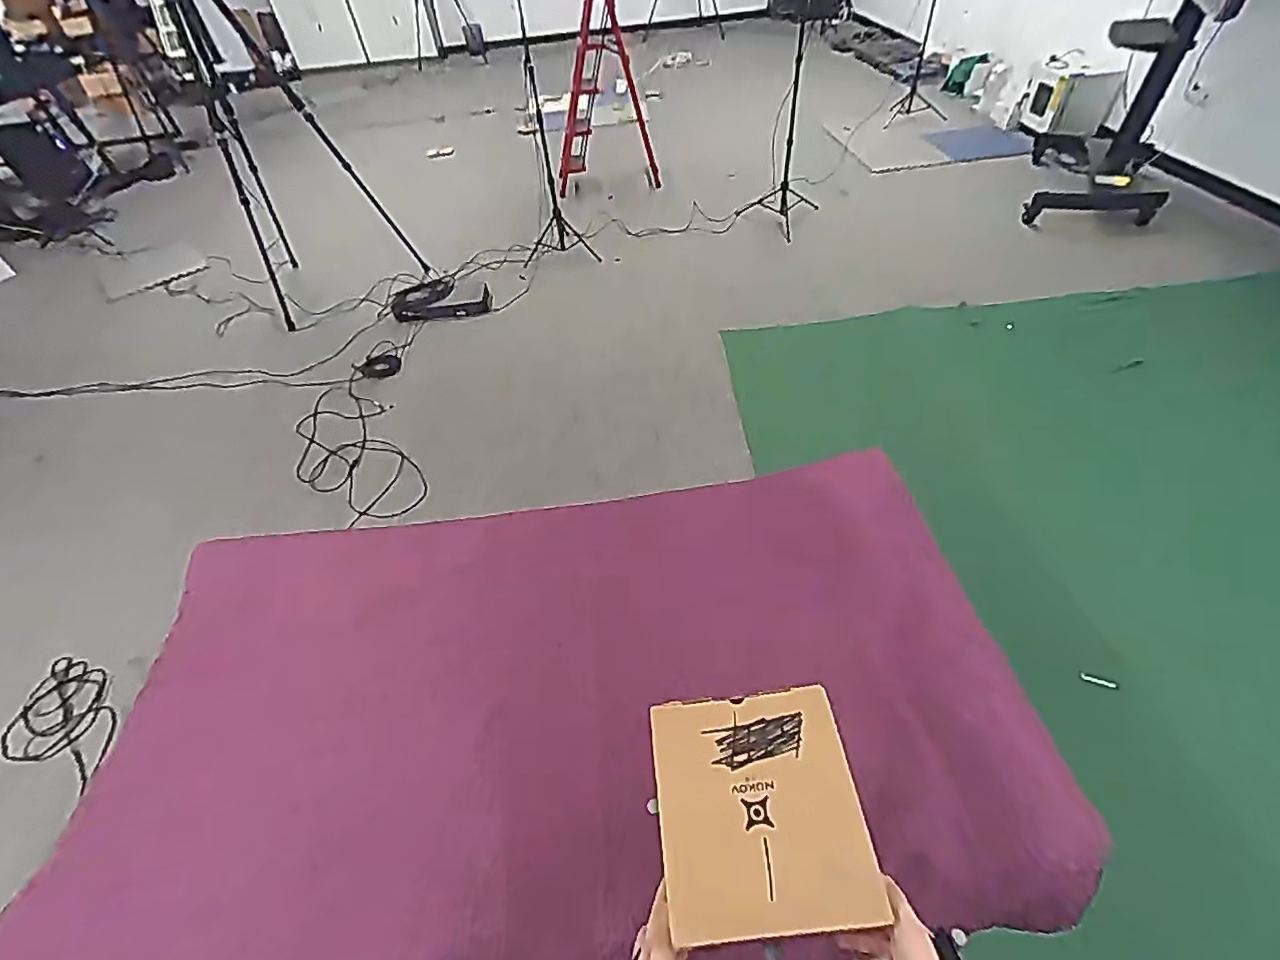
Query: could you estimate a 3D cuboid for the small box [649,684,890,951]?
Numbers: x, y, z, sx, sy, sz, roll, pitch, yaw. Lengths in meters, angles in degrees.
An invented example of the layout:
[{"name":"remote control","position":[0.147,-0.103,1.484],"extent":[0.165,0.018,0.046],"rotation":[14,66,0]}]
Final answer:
[{"name":"small box","position":[0.103,0.315,0.502],"extent":[0.168,0.176,0.179],"rotation":[-9,48,3]}]
